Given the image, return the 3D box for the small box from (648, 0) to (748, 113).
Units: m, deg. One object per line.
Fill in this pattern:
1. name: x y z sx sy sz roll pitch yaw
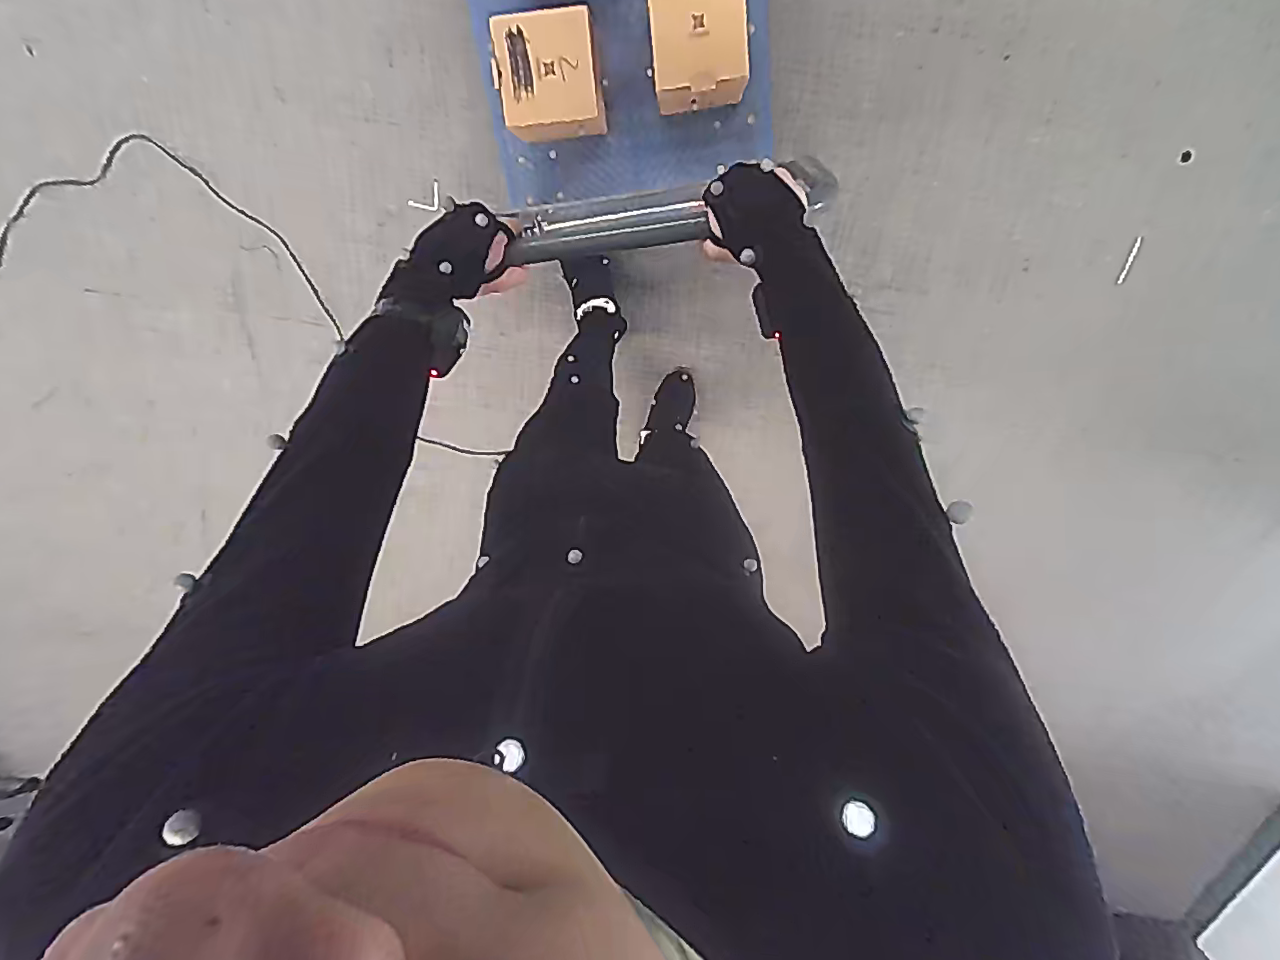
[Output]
1. small box: 0.103 -0.812 1.001 0.168 0.176 0.179 -6 113 5
